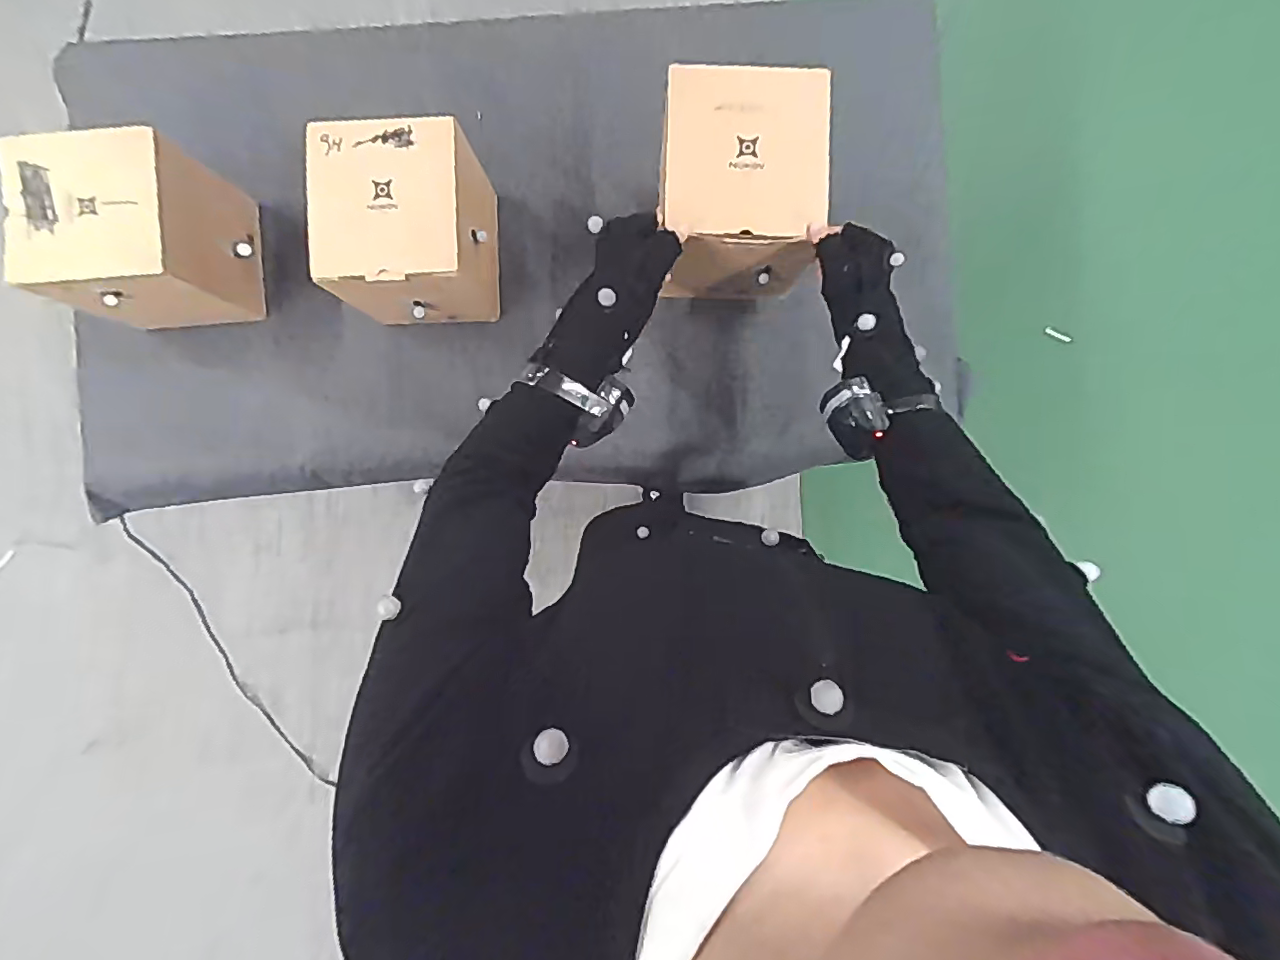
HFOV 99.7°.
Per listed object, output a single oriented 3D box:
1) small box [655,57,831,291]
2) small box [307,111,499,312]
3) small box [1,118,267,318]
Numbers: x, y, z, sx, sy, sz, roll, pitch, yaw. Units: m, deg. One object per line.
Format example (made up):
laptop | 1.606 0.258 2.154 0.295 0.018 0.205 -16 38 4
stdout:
small box | 0.104 -0.329 0.614 0.168 0.176 0.179 1 88 -2
small box | -0.277 -0.313 0.668 0.168 0.176 0.179 -1 90 1
small box | -0.609 -0.309 0.671 0.179 0.176 0.168 -4 90 0
